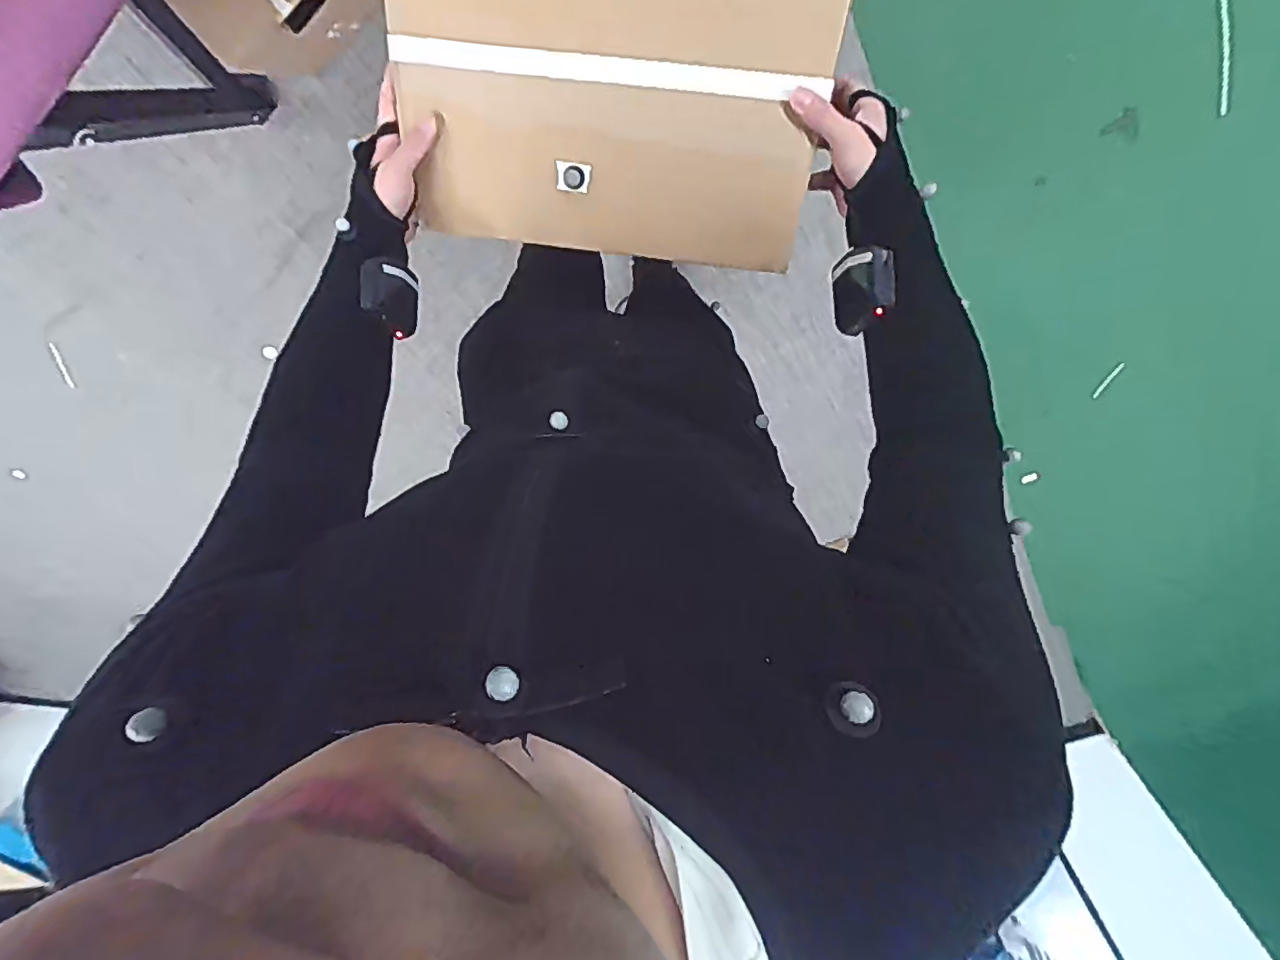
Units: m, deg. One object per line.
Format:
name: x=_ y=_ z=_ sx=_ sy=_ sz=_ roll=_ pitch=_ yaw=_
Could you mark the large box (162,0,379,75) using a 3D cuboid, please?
large box: x=-0.696 y=-0.990 z=0.909 sx=0.320 sy=0.320 sz=0.408 roll=-29 pitch=120 yaw=19
